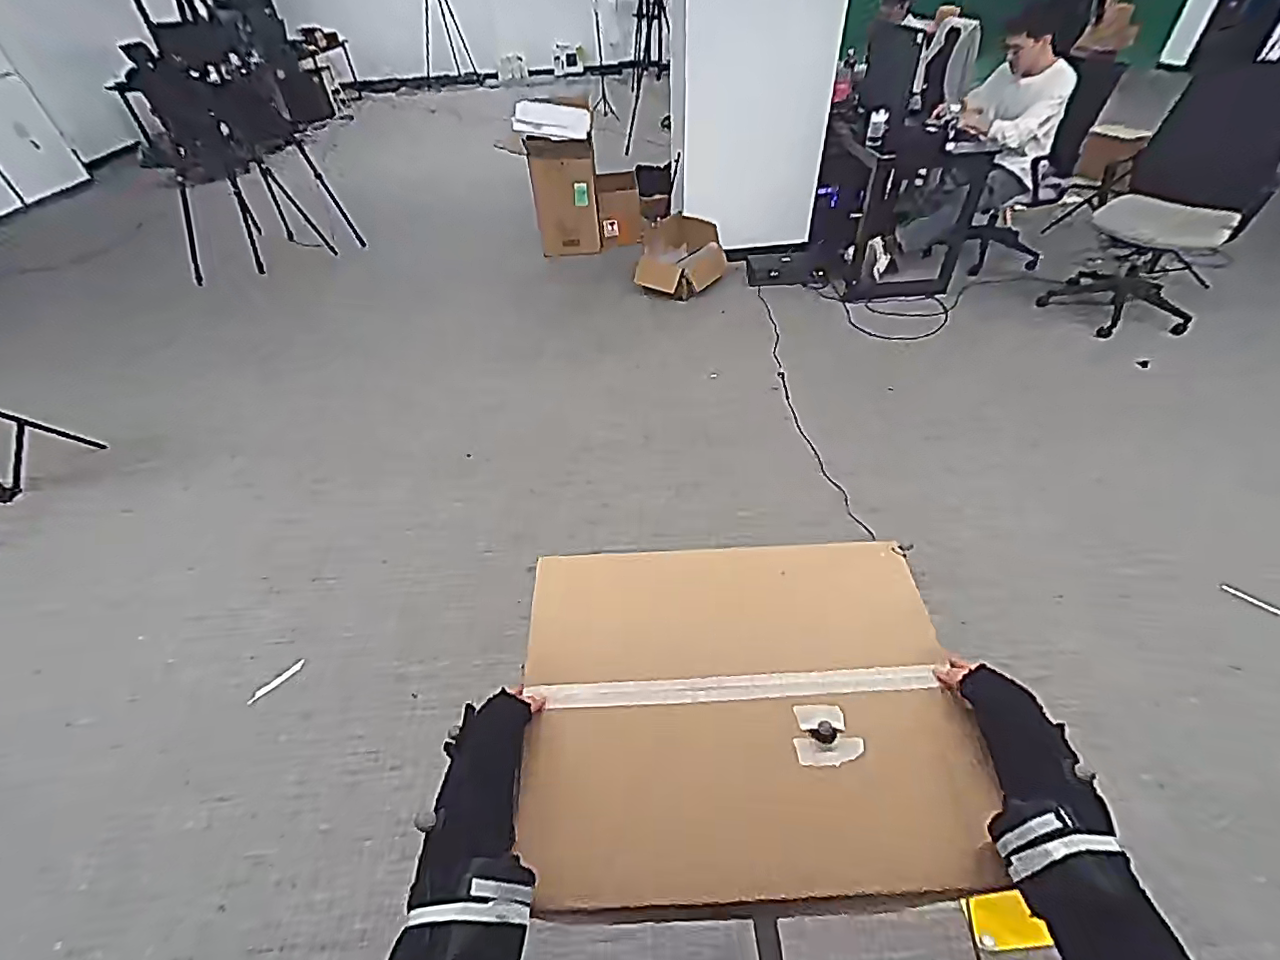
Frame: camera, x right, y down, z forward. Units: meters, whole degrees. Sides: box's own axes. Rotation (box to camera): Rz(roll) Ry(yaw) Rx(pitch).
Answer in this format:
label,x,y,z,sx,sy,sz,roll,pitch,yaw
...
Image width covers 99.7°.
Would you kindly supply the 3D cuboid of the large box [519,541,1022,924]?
label,x,y,z,sx,sy,sz,roll,pitch,yaw
large box,0.097,0.293,0.625,0.408,0.320,0.320,-3,49,-1
